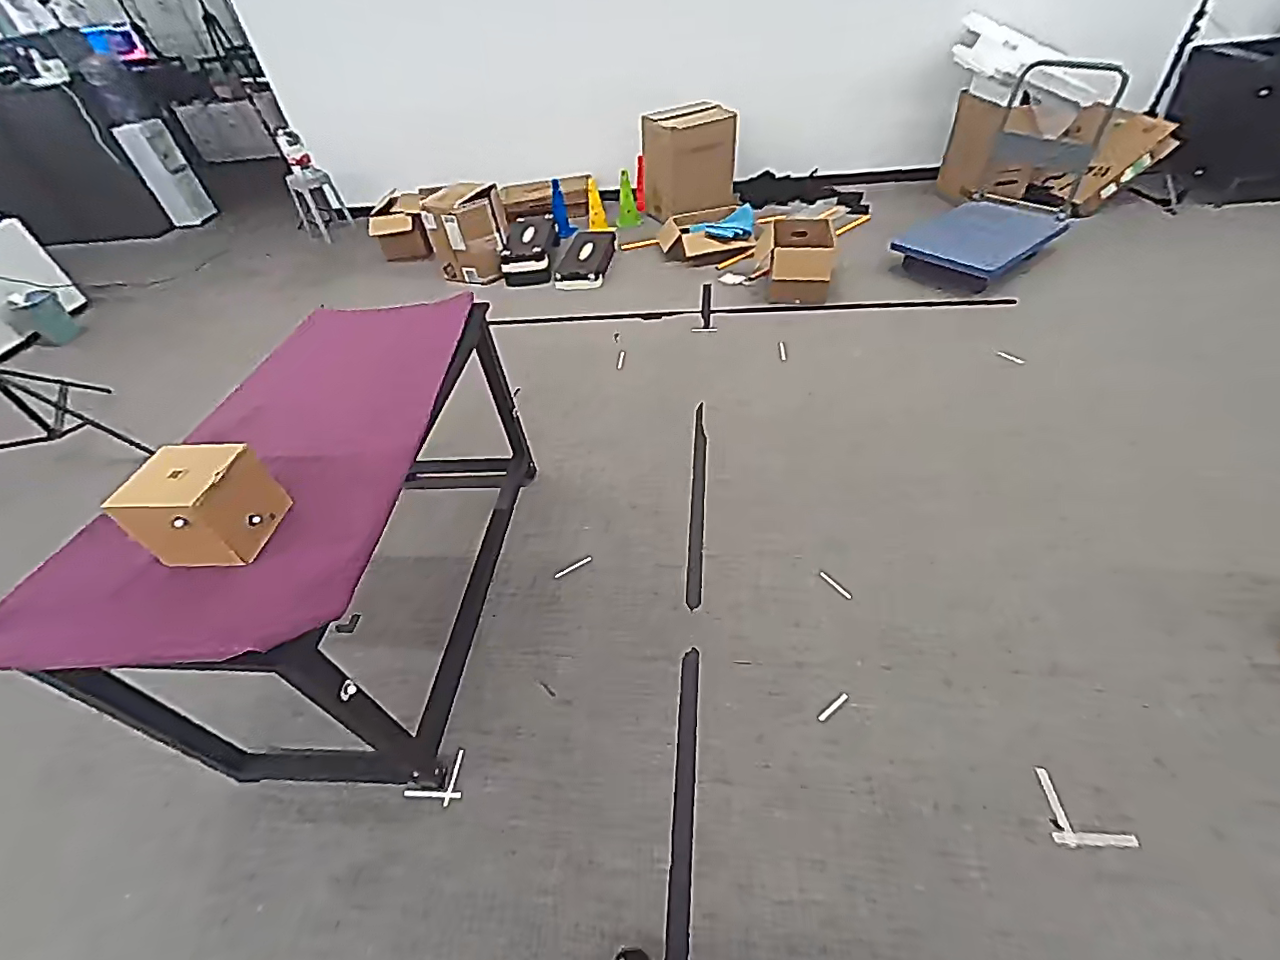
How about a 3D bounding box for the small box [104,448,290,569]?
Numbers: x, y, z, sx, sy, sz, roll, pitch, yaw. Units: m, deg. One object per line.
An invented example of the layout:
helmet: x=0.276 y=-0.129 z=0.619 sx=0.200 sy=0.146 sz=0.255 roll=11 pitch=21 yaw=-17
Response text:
small box: x=-0.824 y=0.057 z=1.028 sx=0.179 sy=0.176 sz=0.168 roll=-1 pitch=44 yaw=5
